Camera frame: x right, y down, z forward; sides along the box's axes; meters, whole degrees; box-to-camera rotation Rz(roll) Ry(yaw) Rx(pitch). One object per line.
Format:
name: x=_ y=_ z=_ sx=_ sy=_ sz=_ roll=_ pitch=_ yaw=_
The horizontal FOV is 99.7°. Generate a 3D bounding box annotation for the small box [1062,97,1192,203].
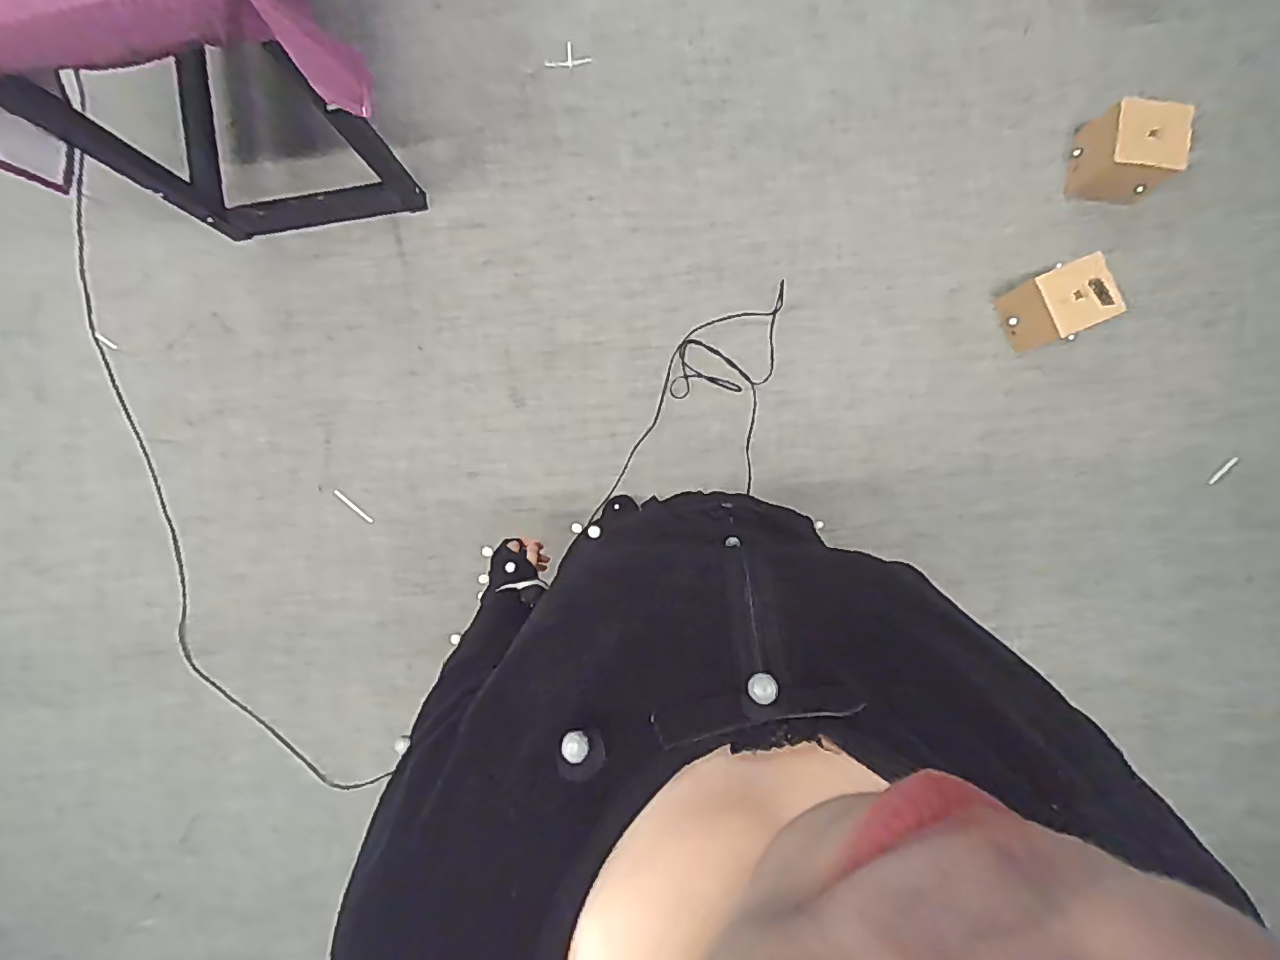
small box: x=1.261 y=-0.851 z=1.409 sx=0.179 sy=0.176 sz=0.168 roll=9 pitch=89 yaw=2
